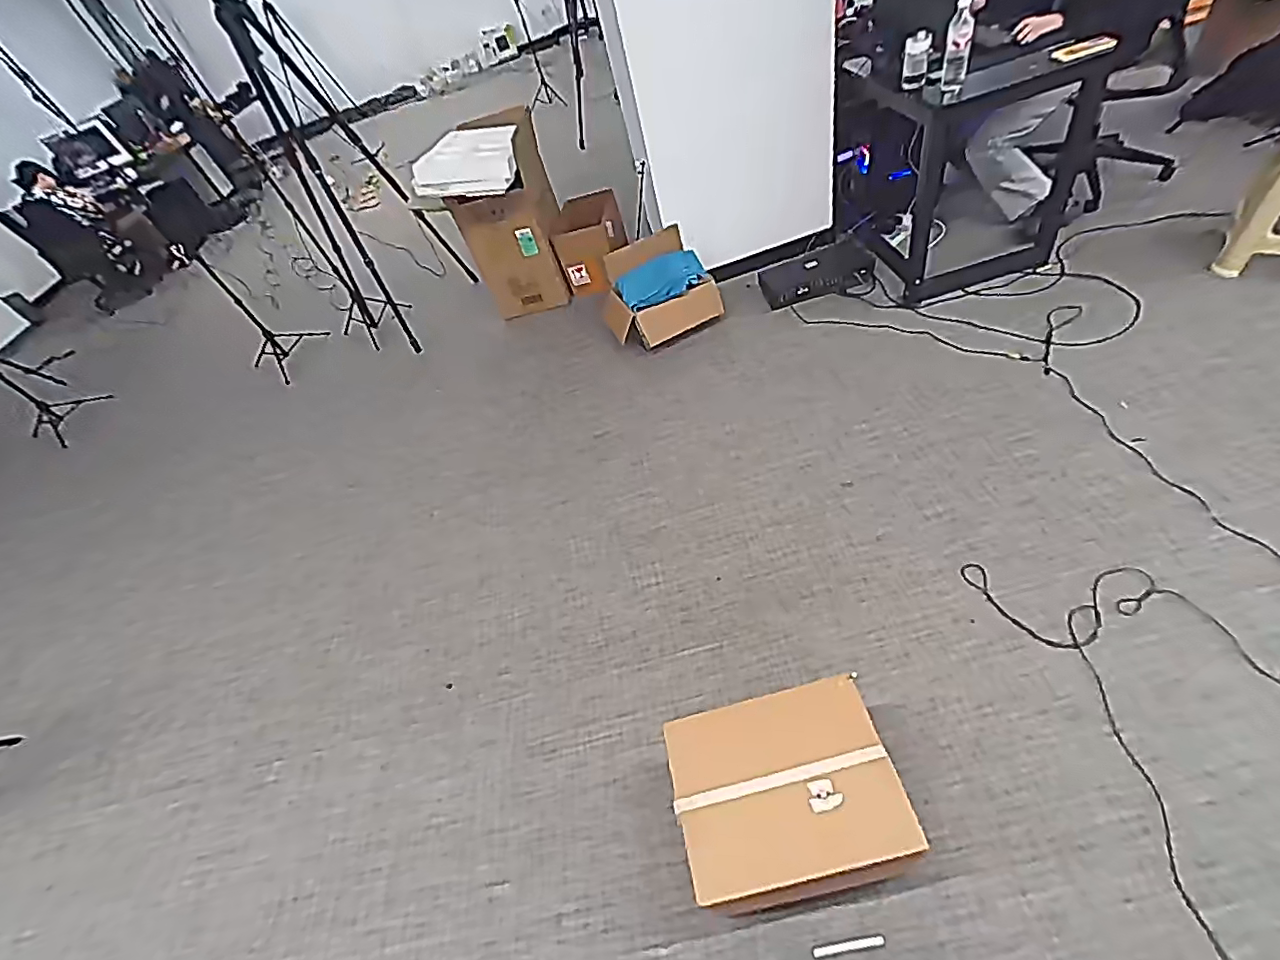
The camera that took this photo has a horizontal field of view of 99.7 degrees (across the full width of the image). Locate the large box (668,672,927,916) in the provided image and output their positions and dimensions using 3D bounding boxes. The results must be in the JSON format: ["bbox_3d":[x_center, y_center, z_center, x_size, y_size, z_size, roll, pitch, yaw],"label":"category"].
[{"bbox_3d":[0.307,0.660,1.128,0.408,0.320,0.320,-17,47,3],"label":"large box"}]
